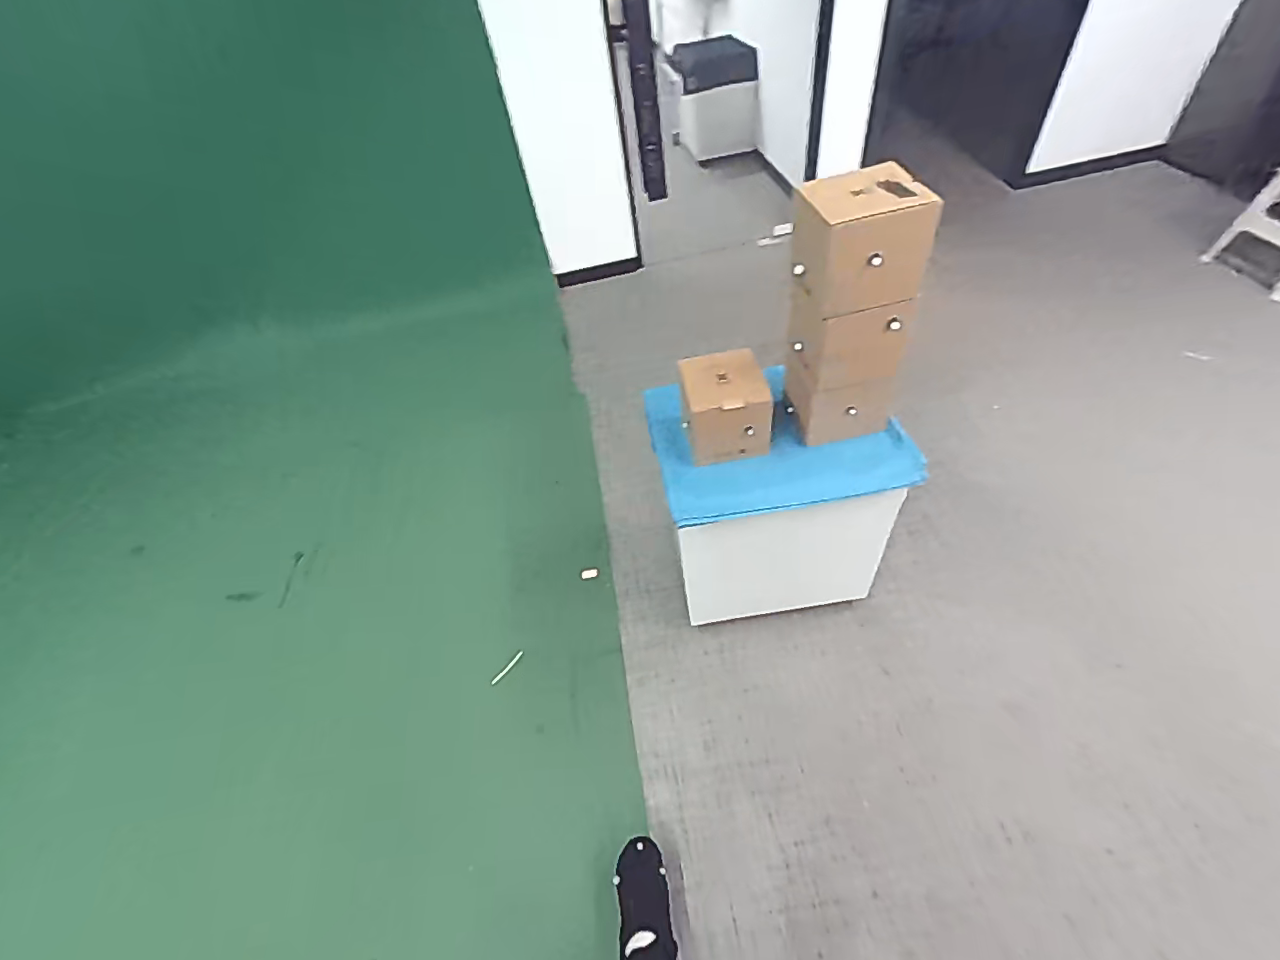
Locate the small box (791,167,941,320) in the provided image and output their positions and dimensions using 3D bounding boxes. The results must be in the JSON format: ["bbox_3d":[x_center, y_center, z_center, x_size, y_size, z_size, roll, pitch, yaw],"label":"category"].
[{"bbox_3d":[0.372,-0.402,0.926,0.179,0.176,0.168,-12,48,1],"label":"small box"}]

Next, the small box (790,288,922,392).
[{"bbox_3d":[0.404,-0.297,1.049,0.179,0.176,0.168,-13,48,0],"label":"small box"}]

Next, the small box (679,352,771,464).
[{"bbox_3d":[0.182,-0.151,1.181,0.168,0.176,0.179,-9,48,0],"label":"small box"}]
